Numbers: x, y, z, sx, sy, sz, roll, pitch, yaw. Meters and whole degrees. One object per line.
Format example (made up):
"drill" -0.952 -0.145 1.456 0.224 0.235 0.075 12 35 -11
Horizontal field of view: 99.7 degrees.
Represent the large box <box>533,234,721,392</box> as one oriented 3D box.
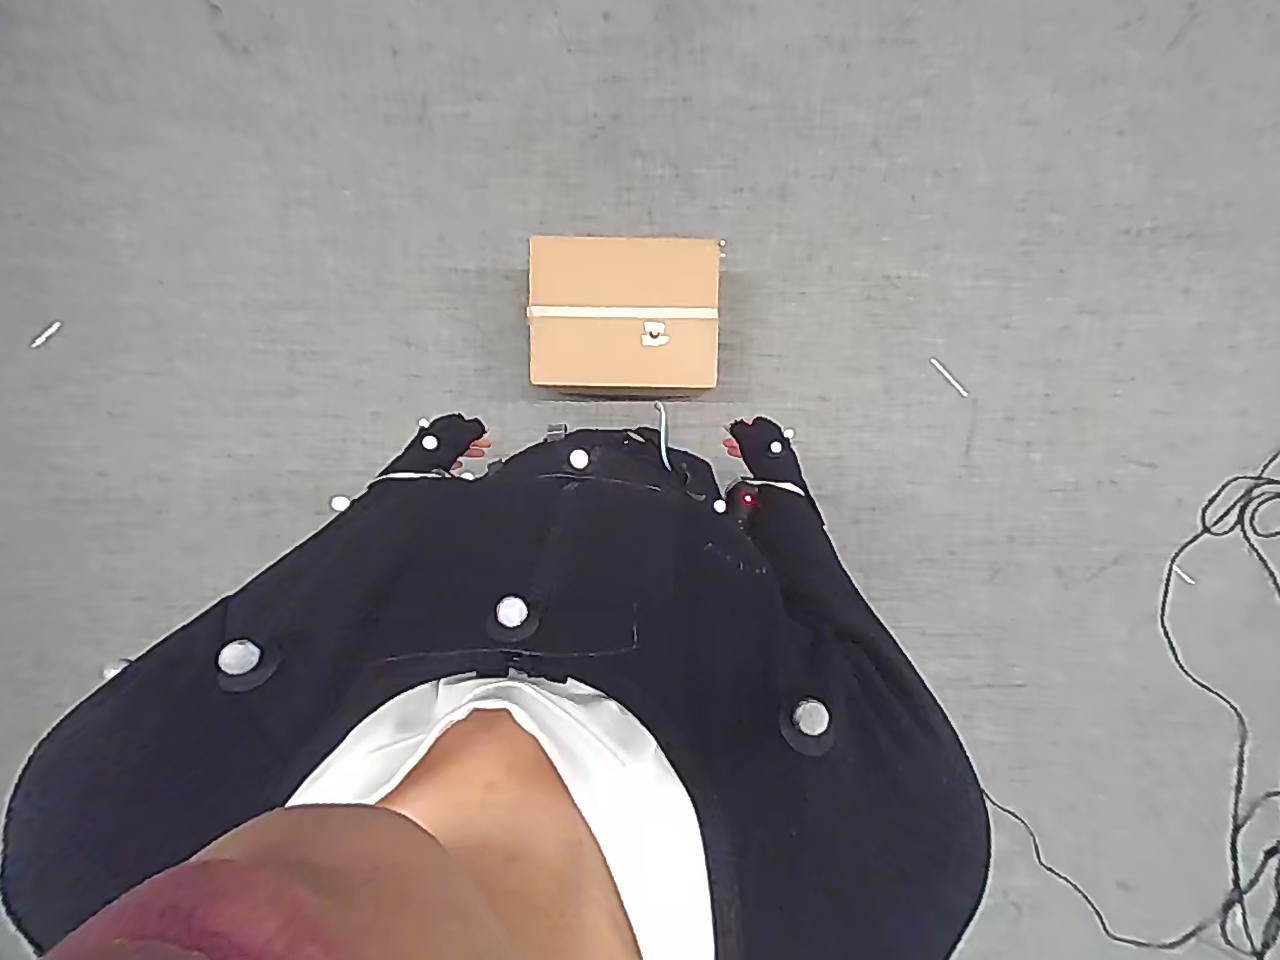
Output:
"large box" -0.032 -0.377 1.299 0.408 0.320 0.320 1 96 -1
